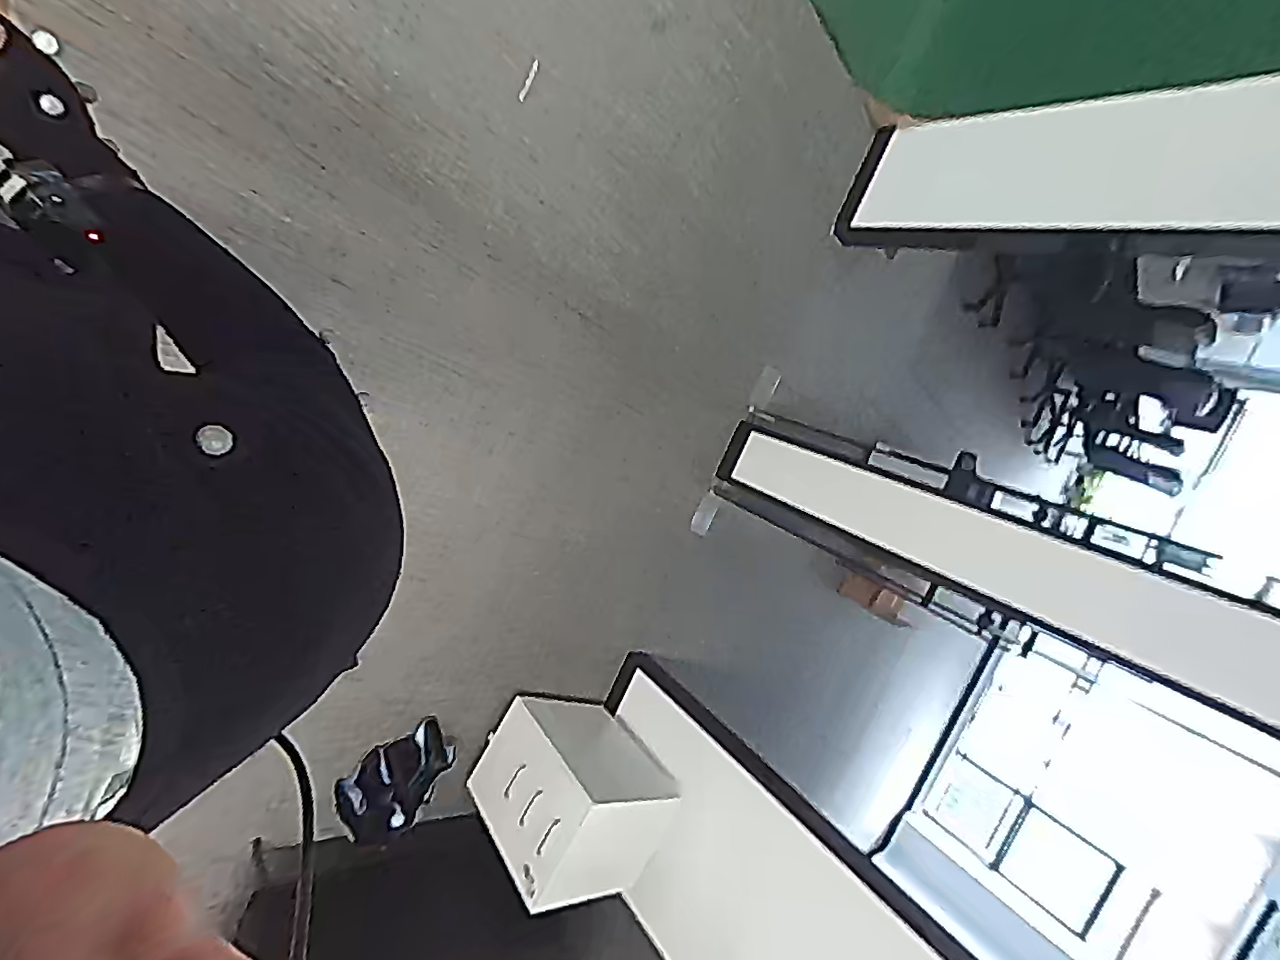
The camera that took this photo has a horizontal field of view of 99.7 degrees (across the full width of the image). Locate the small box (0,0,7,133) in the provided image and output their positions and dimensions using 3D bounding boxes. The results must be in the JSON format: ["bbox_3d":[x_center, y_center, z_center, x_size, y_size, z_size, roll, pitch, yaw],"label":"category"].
[{"bbox_3d":[-0.611,-0.403,0.401,0.168,0.176,0.179,-3,88,-43],"label":"small box"}]
